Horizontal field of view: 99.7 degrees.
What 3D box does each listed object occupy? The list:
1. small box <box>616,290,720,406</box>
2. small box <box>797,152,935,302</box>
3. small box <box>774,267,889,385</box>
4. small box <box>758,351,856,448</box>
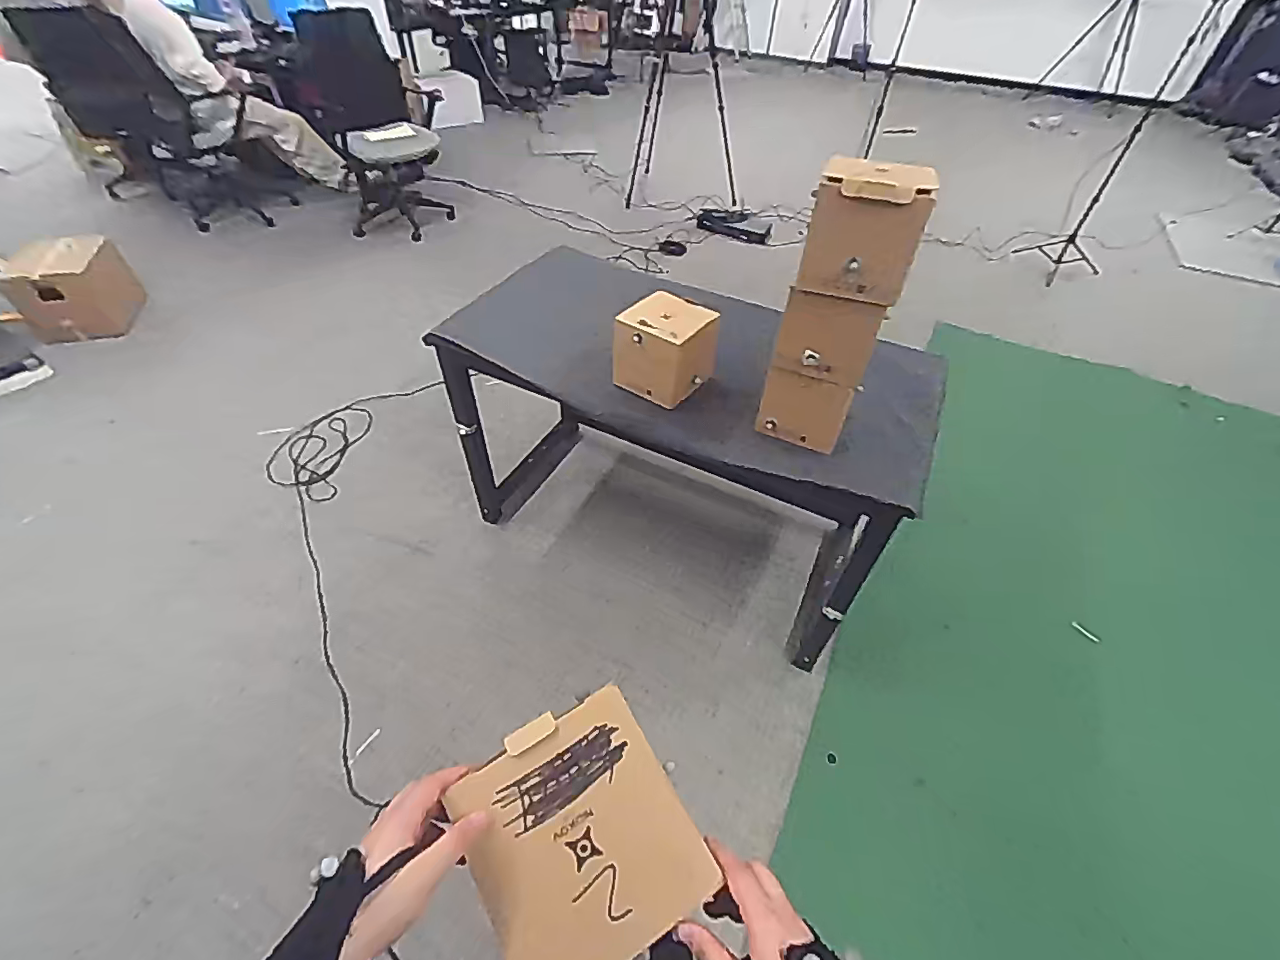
[{"bbox_3d":[0.056,-0.297,1.215,0.168,0.176,0.179,29,49,23],"label":"small box"},{"bbox_3d":[0.367,-0.418,0.892,0.168,0.176,0.179,15,45,14],"label":"small box"},{"bbox_3d":[0.362,-0.306,1.014,0.168,0.176,0.179,18,47,16],"label":"small box"},{"bbox_3d":[0.357,-0.193,1.131,0.168,0.176,0.179,22,46,18],"label":"small box"}]
